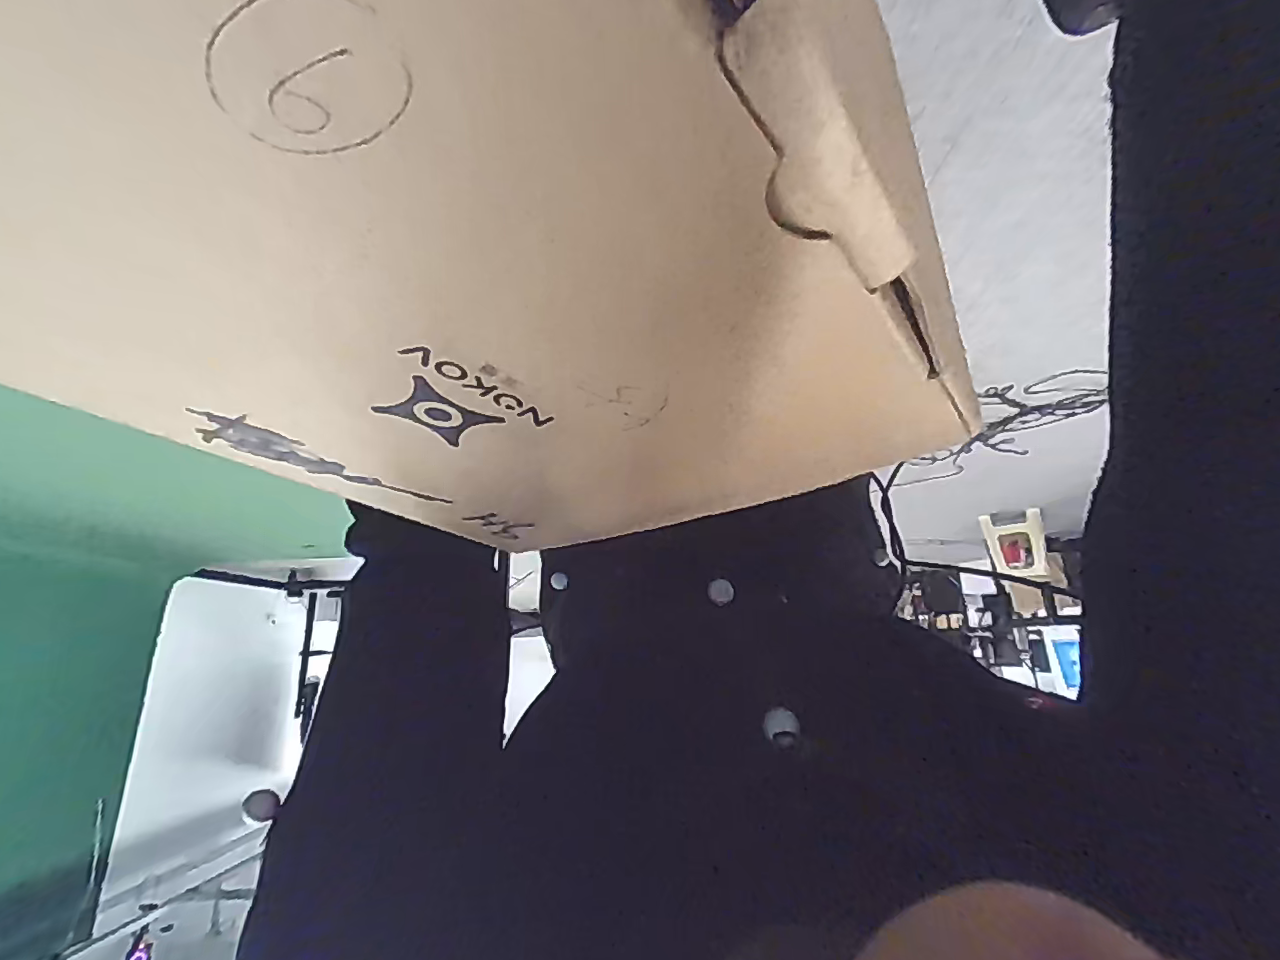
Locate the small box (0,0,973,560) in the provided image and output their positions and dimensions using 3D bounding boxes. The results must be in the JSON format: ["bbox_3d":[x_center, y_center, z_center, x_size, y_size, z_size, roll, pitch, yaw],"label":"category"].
[{"bbox_3d":[-0.036,-0.090,0.158,0.179,0.176,0.168,-19,146,38],"label":"small box"}]
